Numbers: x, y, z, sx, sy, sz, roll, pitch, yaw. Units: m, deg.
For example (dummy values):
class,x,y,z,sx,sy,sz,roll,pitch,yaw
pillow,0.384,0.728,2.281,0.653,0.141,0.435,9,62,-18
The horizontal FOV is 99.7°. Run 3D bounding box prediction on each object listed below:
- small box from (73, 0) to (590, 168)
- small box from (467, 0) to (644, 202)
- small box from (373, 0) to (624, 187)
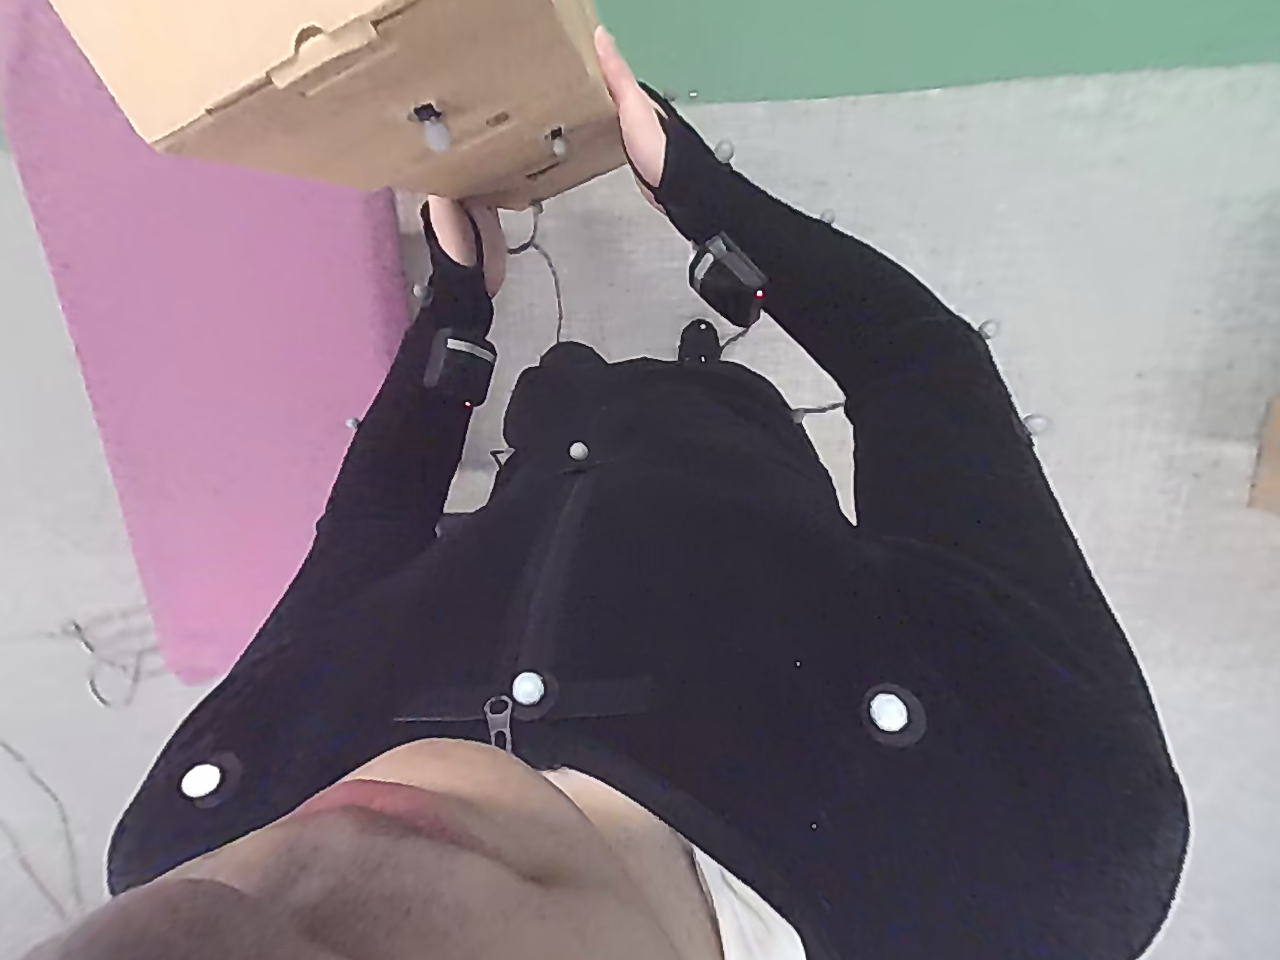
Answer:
class,x,y,z,sx,sy,sz,roll,pitch,yaw
small box,-0.134,-0.260,0.239,0.168,0.176,0.179,-17,111,12
small box,-0.102,-0.394,0.536,0.168,0.176,0.179,-17,109,13
small box,-0.119,-0.329,0.387,0.168,0.176,0.179,-16,110,12
